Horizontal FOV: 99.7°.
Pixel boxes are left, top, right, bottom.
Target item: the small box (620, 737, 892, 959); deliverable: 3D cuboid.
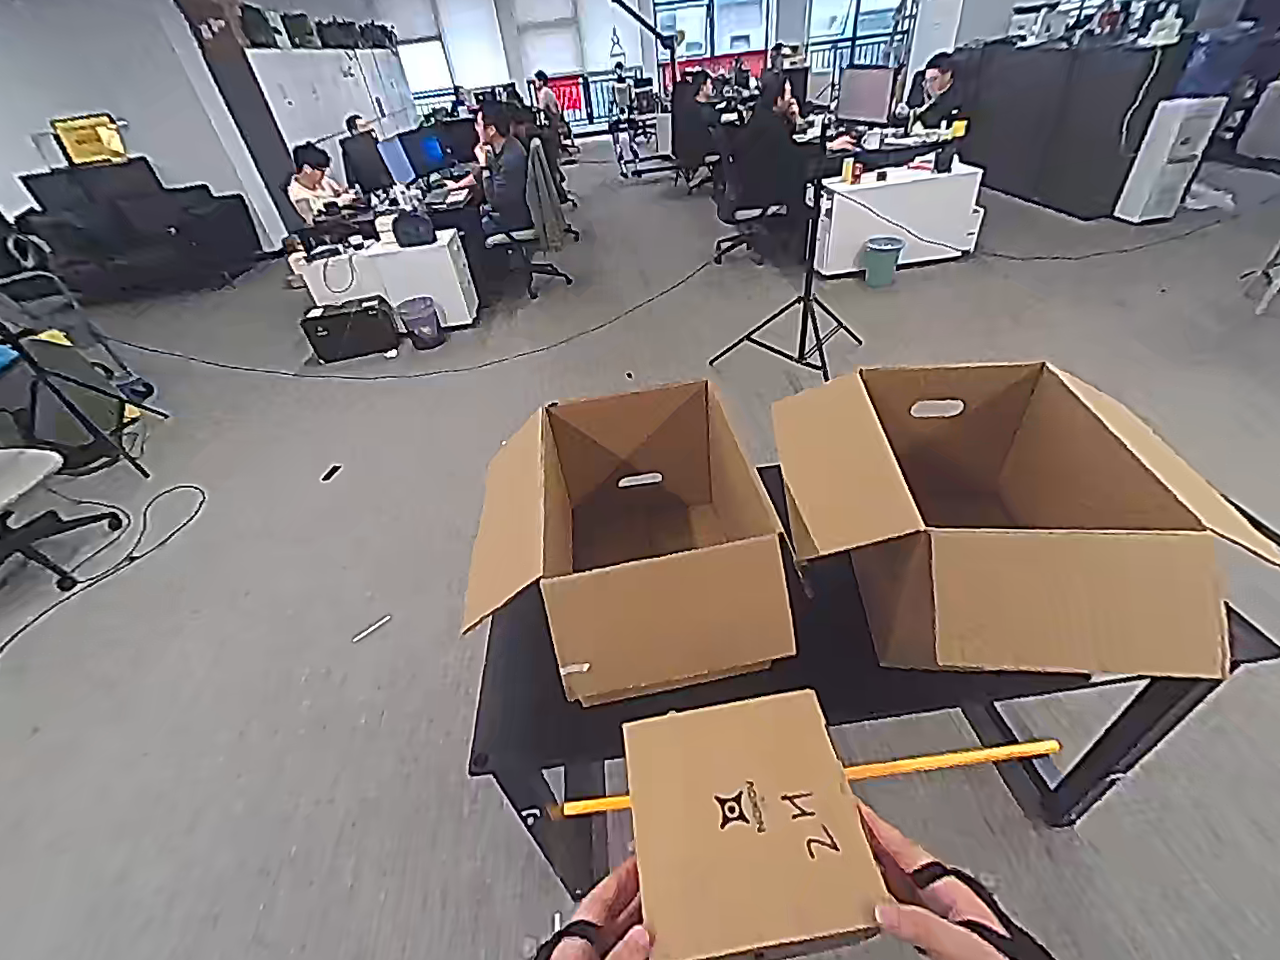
[{"bbox_3d":[0.087,0.349,0.467,0.179,0.176,0.168,-10,45,0],"label":"small box"}]
